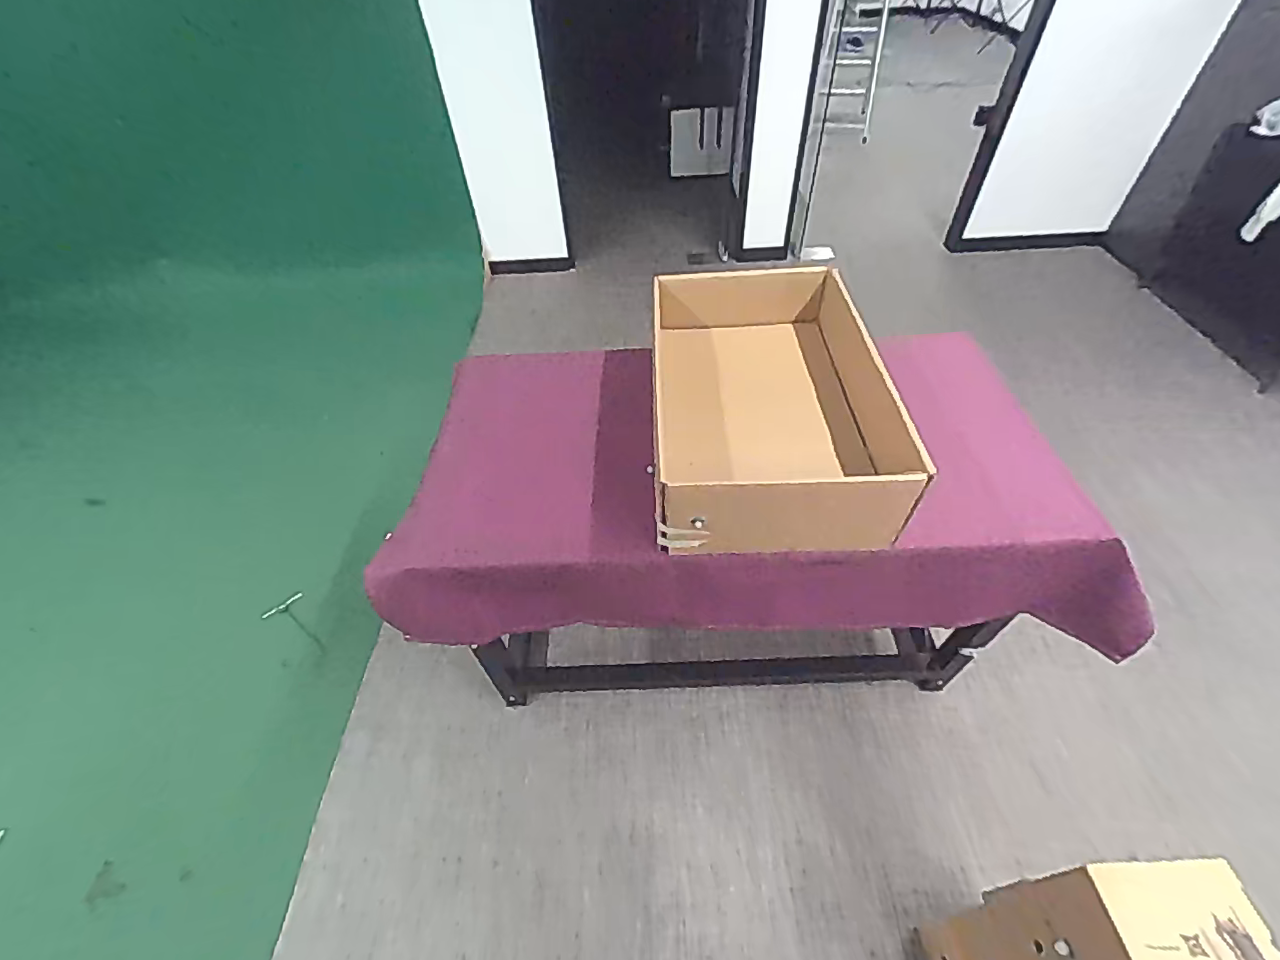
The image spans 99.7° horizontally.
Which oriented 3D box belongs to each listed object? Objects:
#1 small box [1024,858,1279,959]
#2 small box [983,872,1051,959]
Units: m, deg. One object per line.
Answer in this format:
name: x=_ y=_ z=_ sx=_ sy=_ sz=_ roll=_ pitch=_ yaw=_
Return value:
small box: x=0.644 y=0.589 z=0.683 sx=0.179 sy=0.176 sz=0.168 roll=-3 pitch=47 yaw=1
small box: x=0.652 y=0.703 z=0.802 sx=0.168 sy=0.176 sz=0.179 roll=-2 pitch=47 yaw=2
